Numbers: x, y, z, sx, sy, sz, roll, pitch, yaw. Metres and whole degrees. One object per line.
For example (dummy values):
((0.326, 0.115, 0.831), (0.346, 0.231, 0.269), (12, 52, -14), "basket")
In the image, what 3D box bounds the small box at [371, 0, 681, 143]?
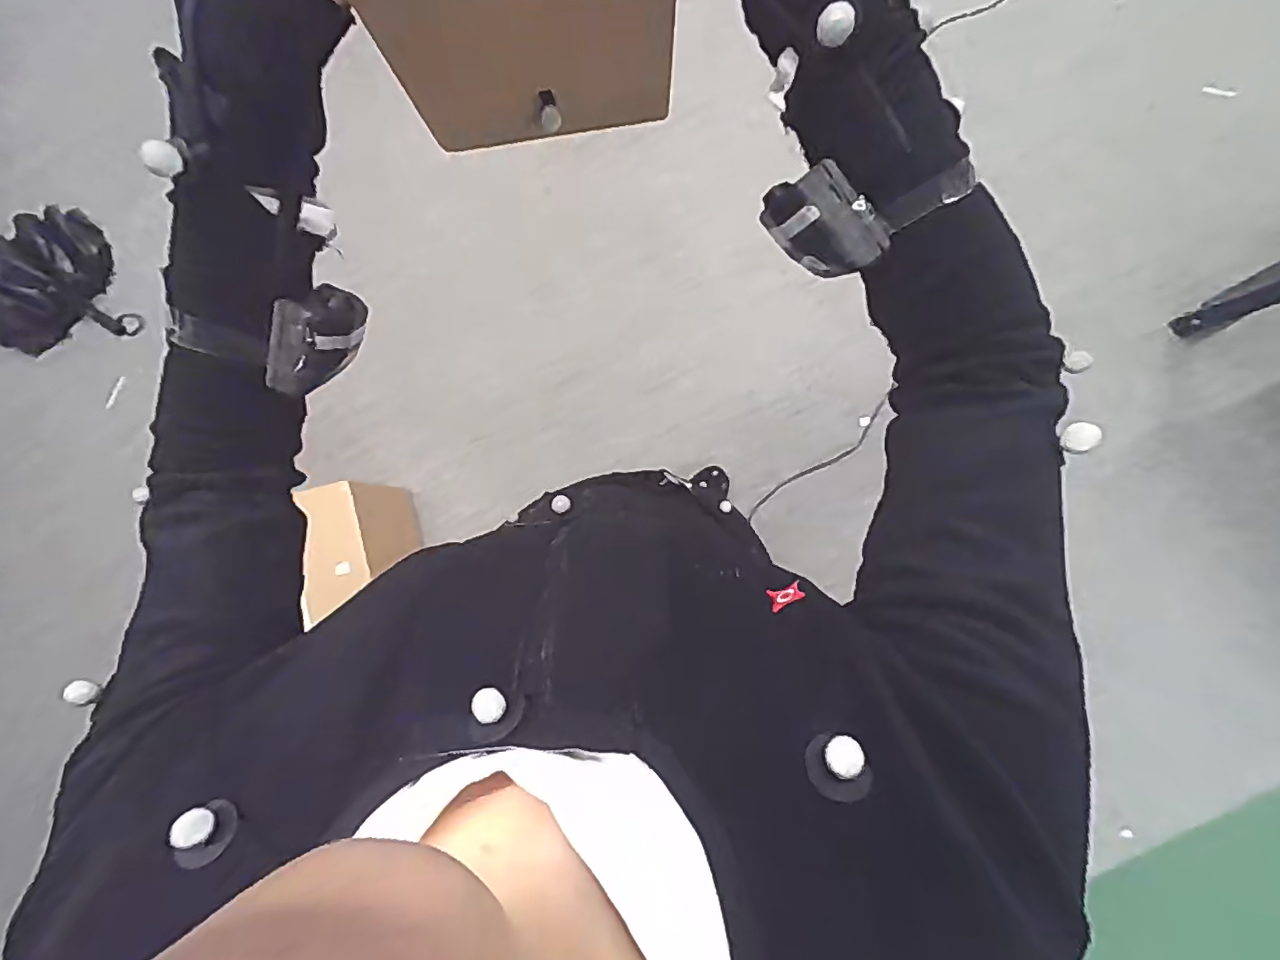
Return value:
((-0.069, -0.345, 0.333), (0.179, 0.176, 0.168), (-8, 89, 0), "small box")
